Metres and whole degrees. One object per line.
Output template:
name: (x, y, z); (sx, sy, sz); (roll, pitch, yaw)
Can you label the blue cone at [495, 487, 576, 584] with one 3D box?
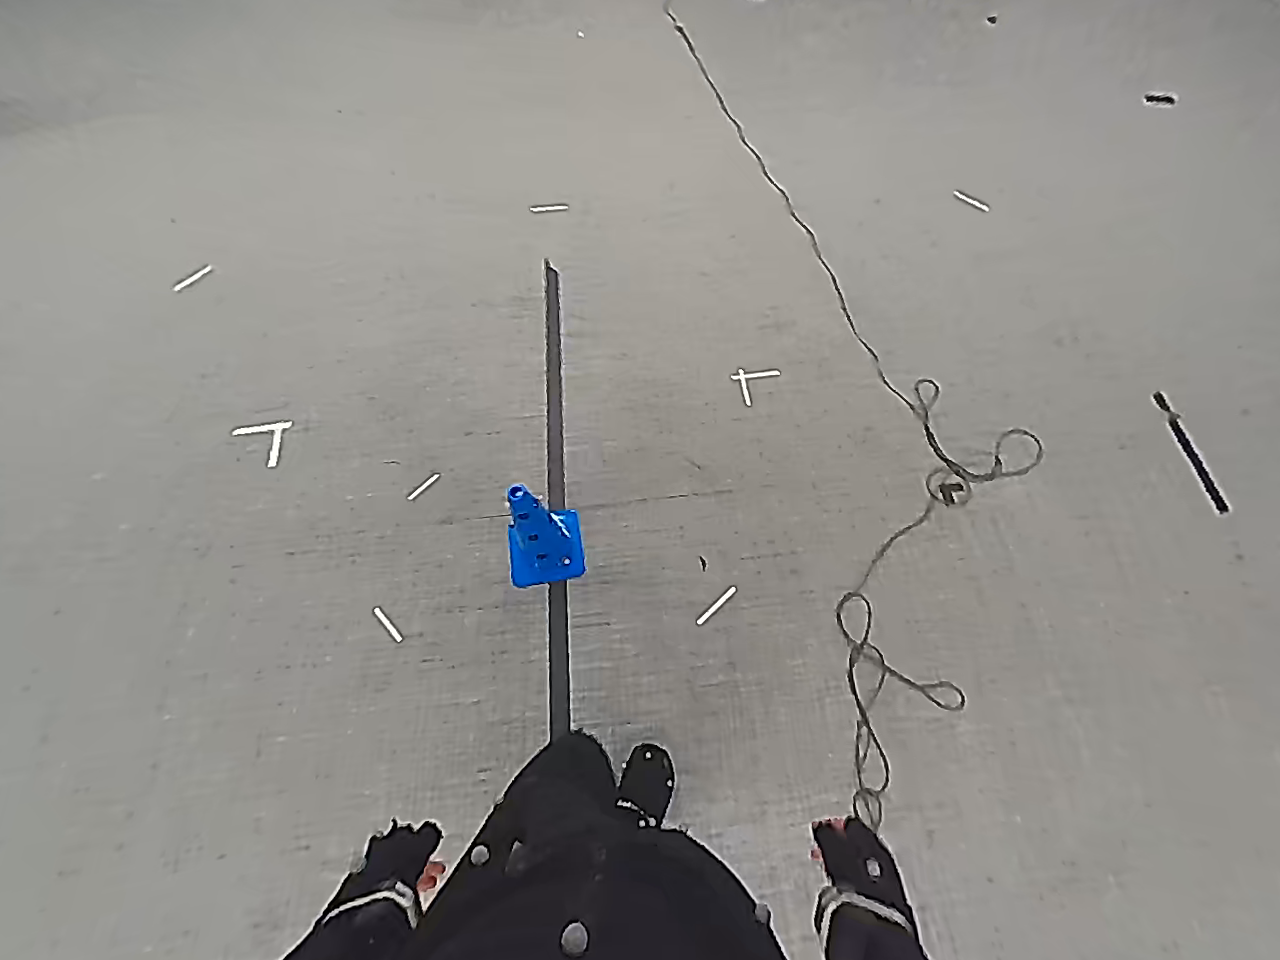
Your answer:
blue cone: (-0.282, 0.110, 1.341); (0.192, 0.380, 0.193); (-9, 63, -2)
